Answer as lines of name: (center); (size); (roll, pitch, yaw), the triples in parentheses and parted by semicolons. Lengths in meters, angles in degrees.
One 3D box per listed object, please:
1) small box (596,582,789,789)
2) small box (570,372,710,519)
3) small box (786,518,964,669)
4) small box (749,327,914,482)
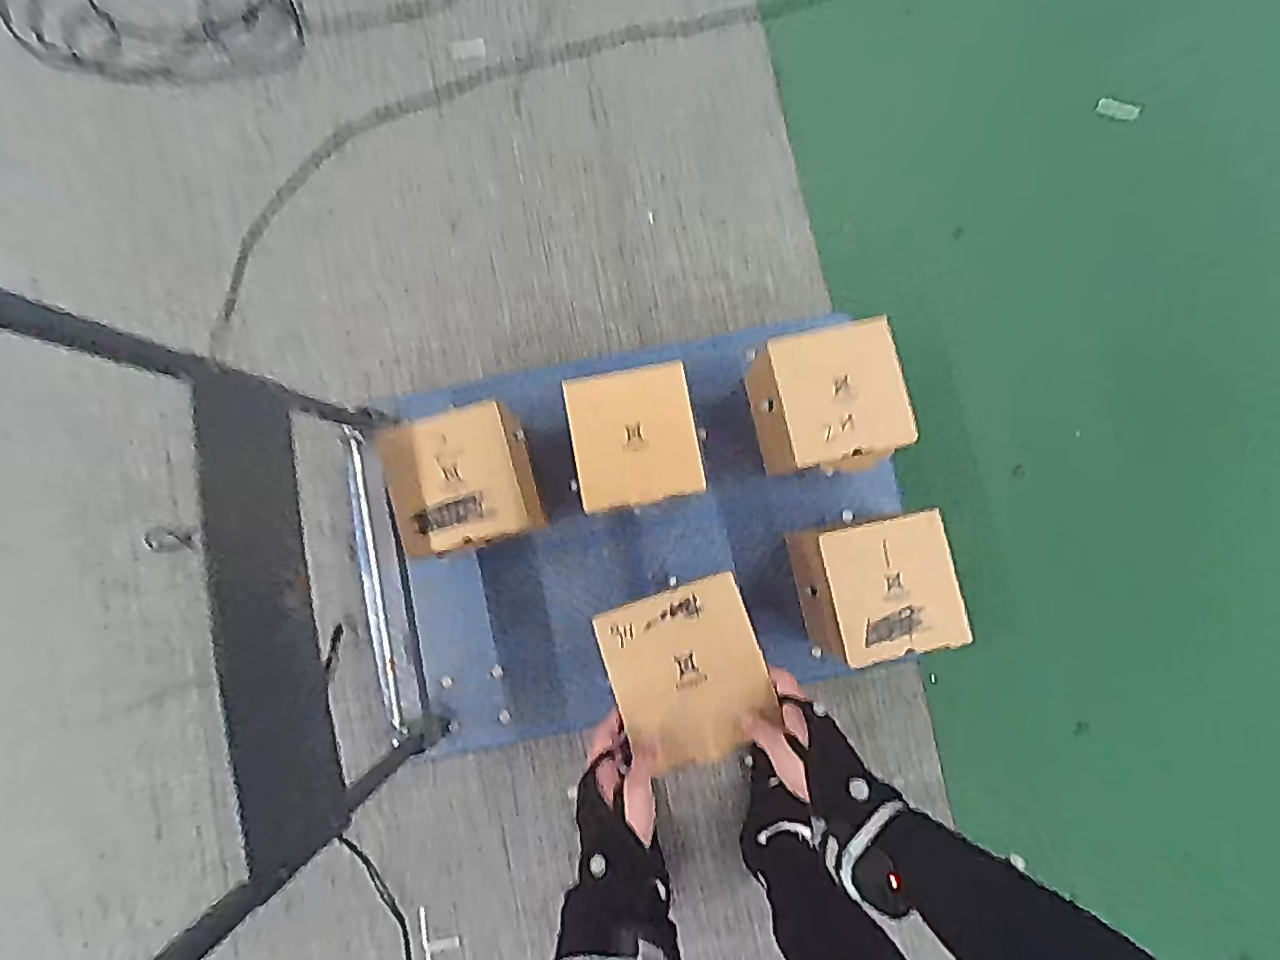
small box: (0.055, 0.229, 0.652); (0.168, 0.176, 0.179); (-18, 79, -4)
small box: (-0.003, -0.042, 0.802); (0.168, 0.176, 0.179); (-11, 86, -2)
small box: (0.333, 0.157, 0.798); (0.168, 0.176, 0.179); (-12, 84, -2)
small box: (0.270, -0.102, 0.805); (0.168, 0.176, 0.179); (-12, 85, 0)
